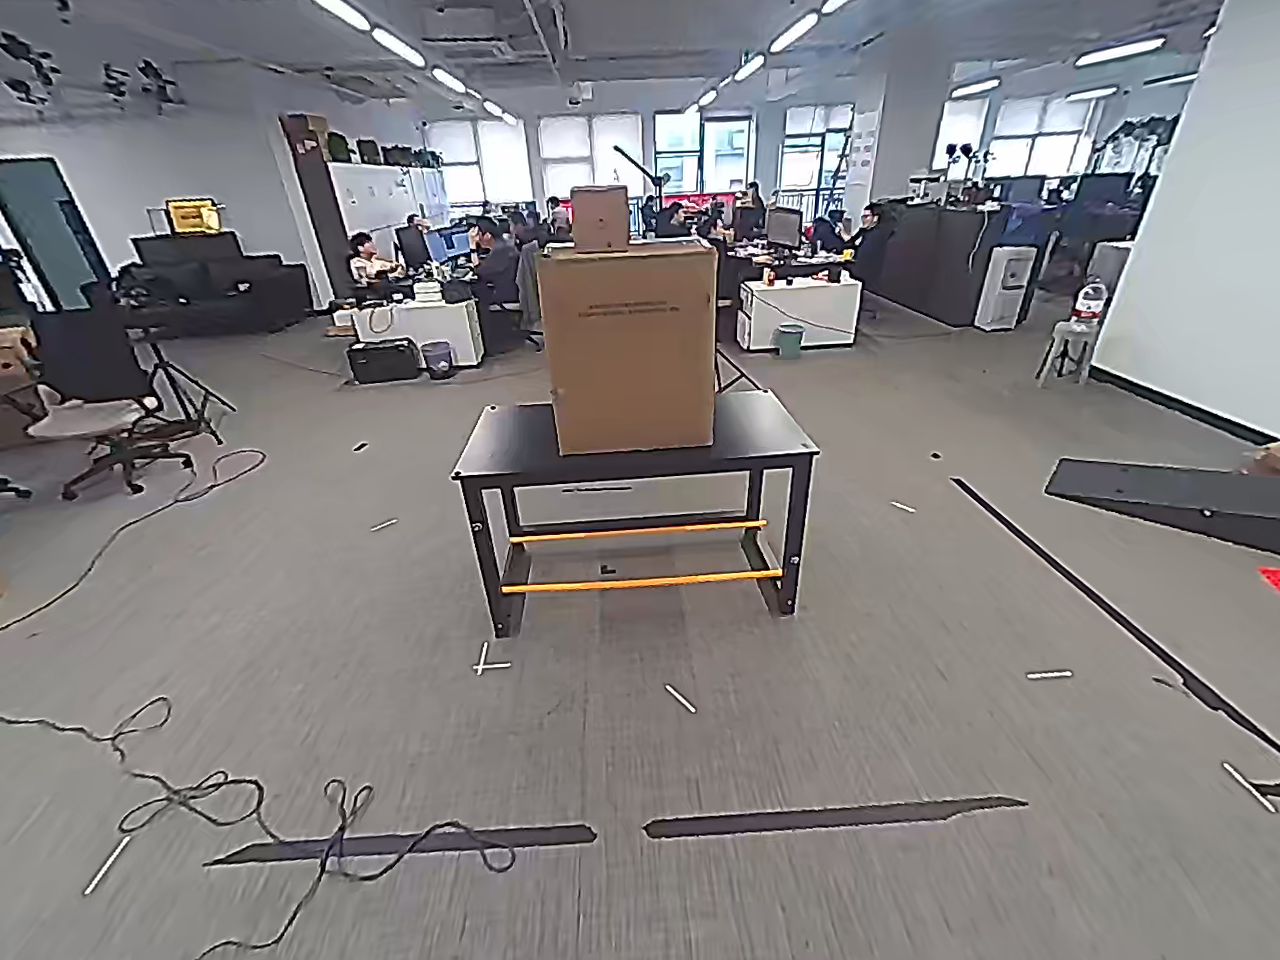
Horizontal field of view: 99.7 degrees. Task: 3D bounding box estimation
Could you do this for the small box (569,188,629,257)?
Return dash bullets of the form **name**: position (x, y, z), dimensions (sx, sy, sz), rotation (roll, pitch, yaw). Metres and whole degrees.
- **small box**: position (-0.119, -0.775, 1.632), dimensions (0.168, 0.176, 0.179), rotation (-3, 32, -2)
